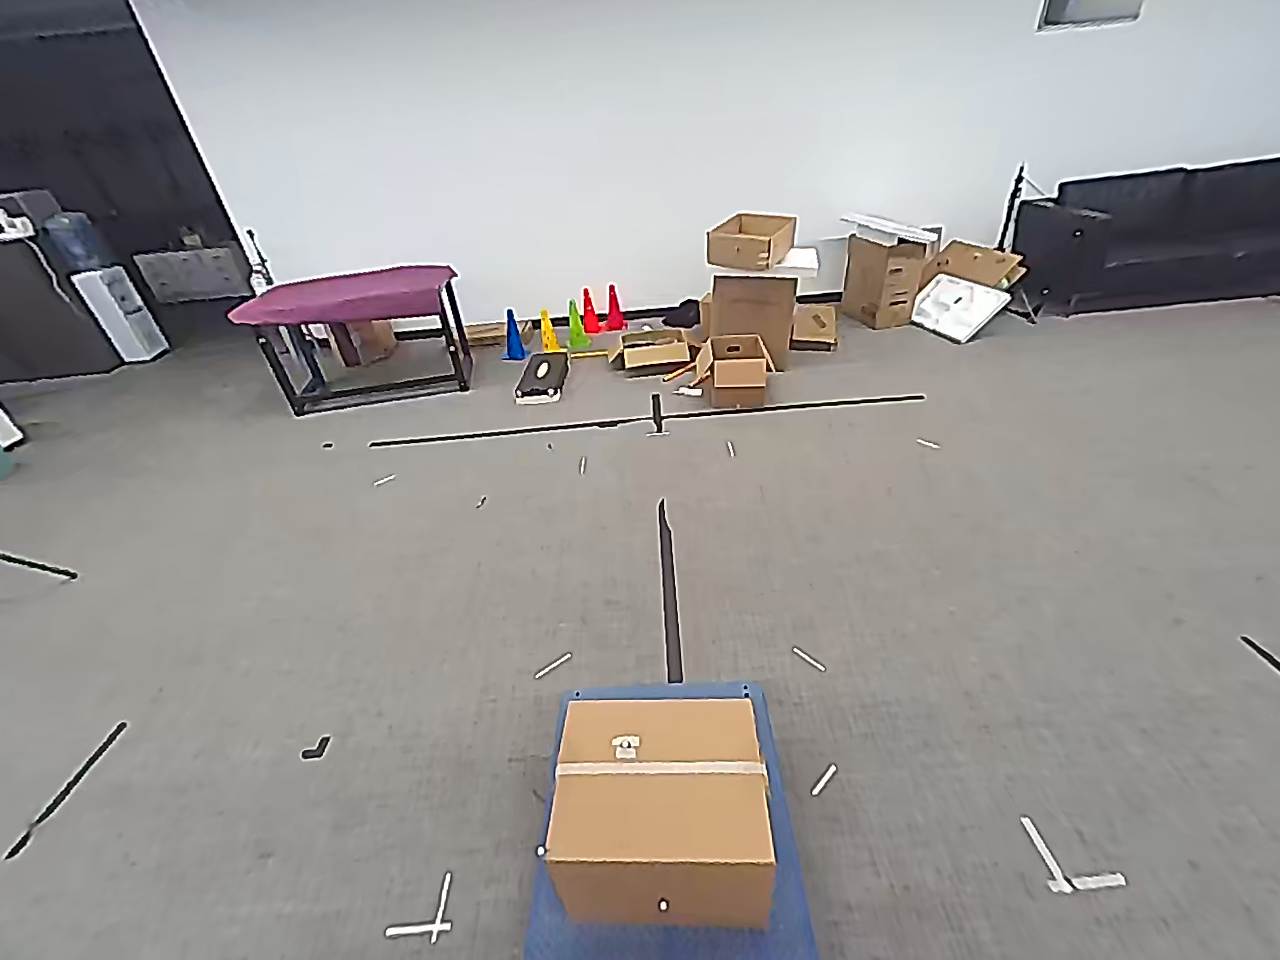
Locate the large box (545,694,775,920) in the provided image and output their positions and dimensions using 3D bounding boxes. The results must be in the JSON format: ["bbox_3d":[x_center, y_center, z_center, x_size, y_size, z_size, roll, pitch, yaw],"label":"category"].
[{"bbox_3d":[0.050,0.682,1.132,0.408,0.320,0.320,-4,33,5],"label":"large box"}]
